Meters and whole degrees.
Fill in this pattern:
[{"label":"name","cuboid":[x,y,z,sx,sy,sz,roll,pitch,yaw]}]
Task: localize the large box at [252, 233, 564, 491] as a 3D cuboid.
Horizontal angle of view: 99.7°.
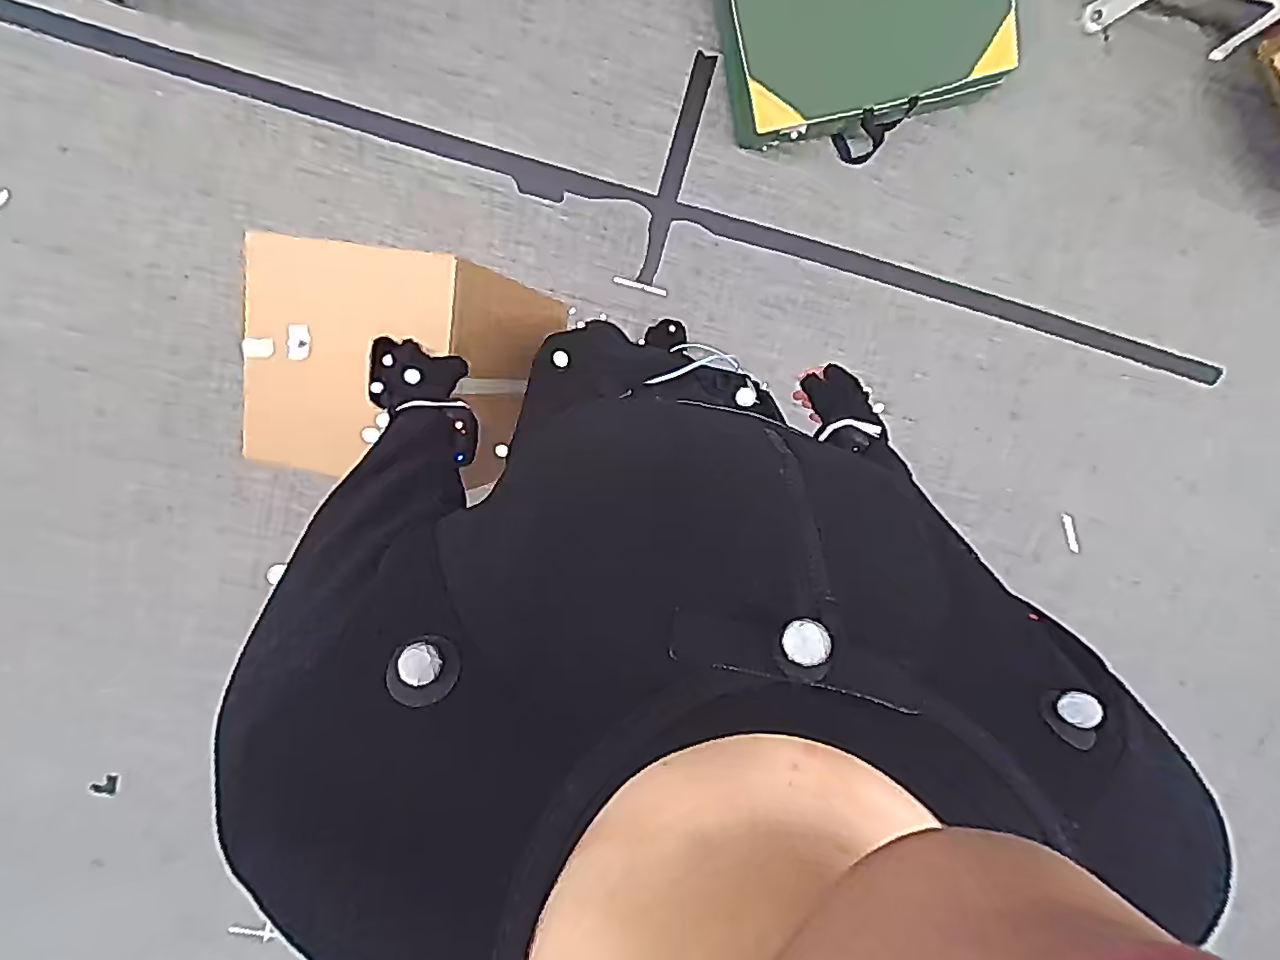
[{"label":"large box","cuboid":[-0.358,-0.197,0.918,0.320,0.408,0.320,13,103,9]}]
